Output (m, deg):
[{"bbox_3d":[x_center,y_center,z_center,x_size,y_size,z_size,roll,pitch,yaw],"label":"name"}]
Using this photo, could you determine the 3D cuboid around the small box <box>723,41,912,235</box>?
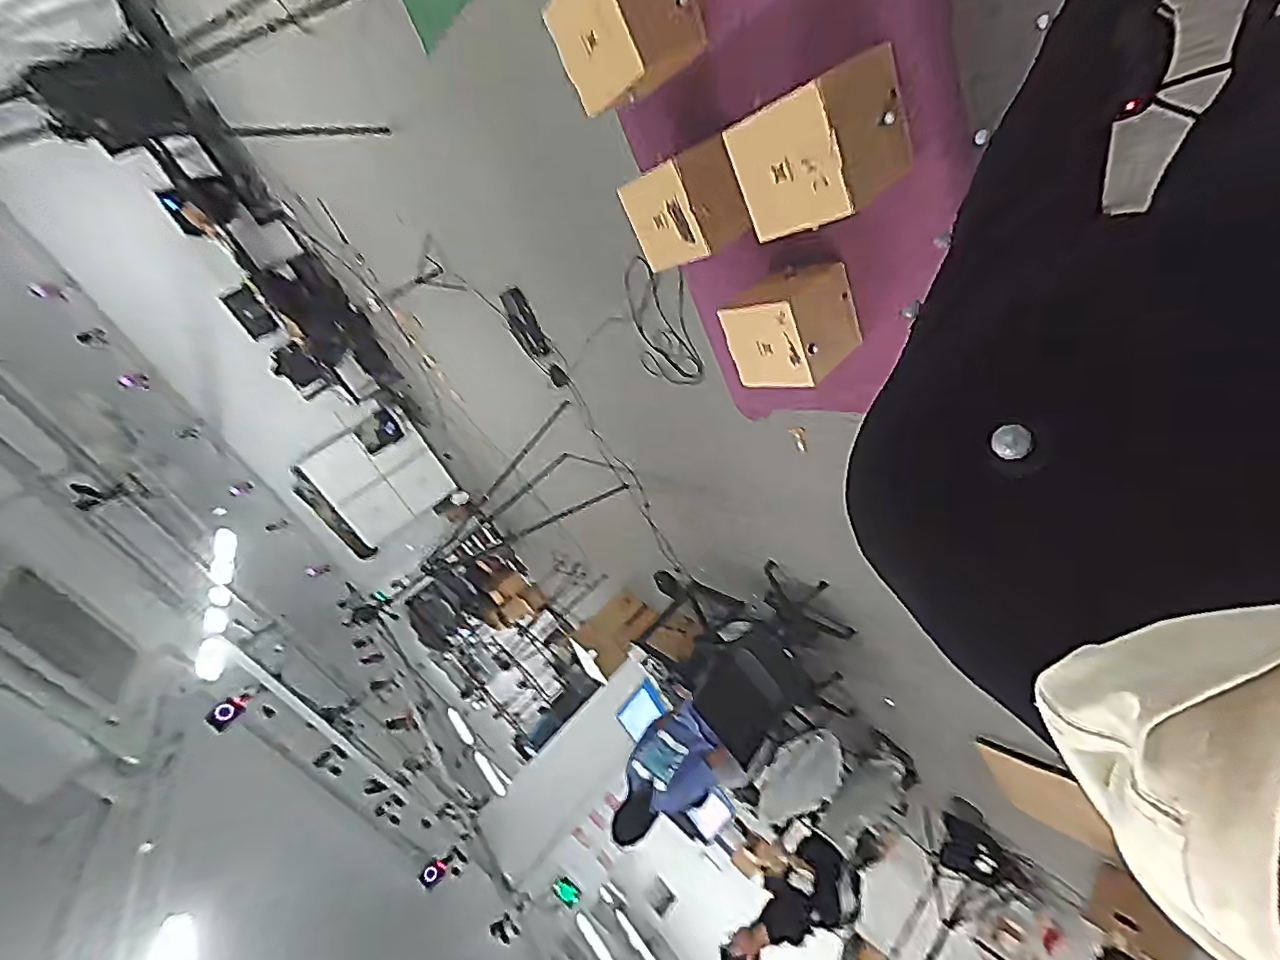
[{"bbox_3d":[0.260,-0.490,0.791,0.179,0.176,0.168,13,139,54],"label":"small box"}]

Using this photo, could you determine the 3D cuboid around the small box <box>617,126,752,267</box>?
[{"bbox_3d":[0.095,-0.531,1.020,0.179,0.176,0.168,13,138,54],"label":"small box"}]

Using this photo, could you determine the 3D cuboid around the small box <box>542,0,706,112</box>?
[{"bbox_3d":[-0.024,-0.755,0.891,0.179,0.176,0.168,11,137,53],"label":"small box"}]

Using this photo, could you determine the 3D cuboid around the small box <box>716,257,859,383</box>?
[{"bbox_3d":[0.283,-0.302,1.032,0.179,0.176,0.168,15,141,53],"label":"small box"}]
